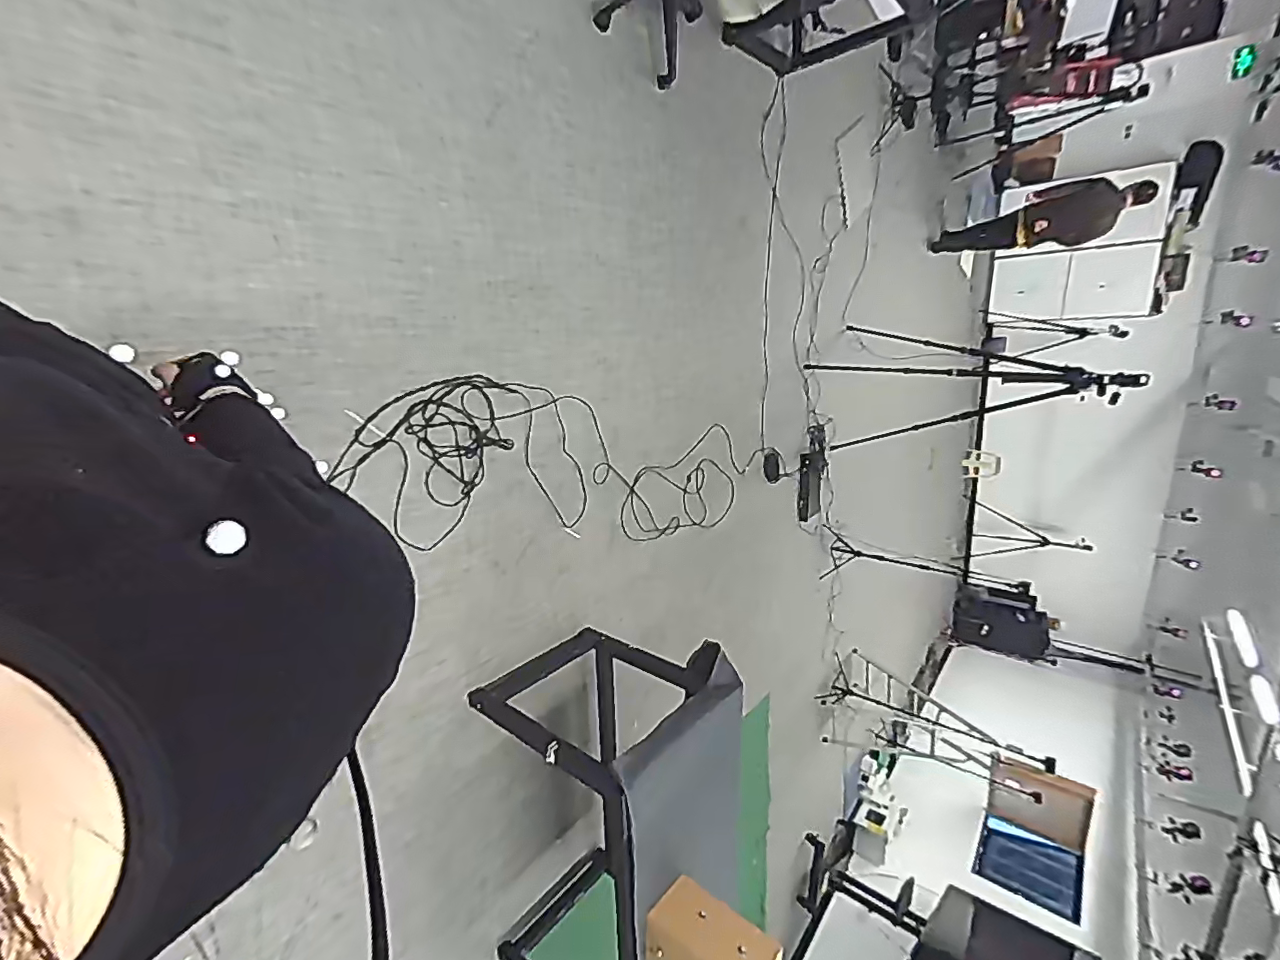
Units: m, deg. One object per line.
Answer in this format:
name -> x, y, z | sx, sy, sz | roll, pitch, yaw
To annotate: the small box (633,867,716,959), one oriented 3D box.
small box -> 0.099, 1.281, 1.565 | 0.179, 0.176, 0.168 | -11, 106, -50
